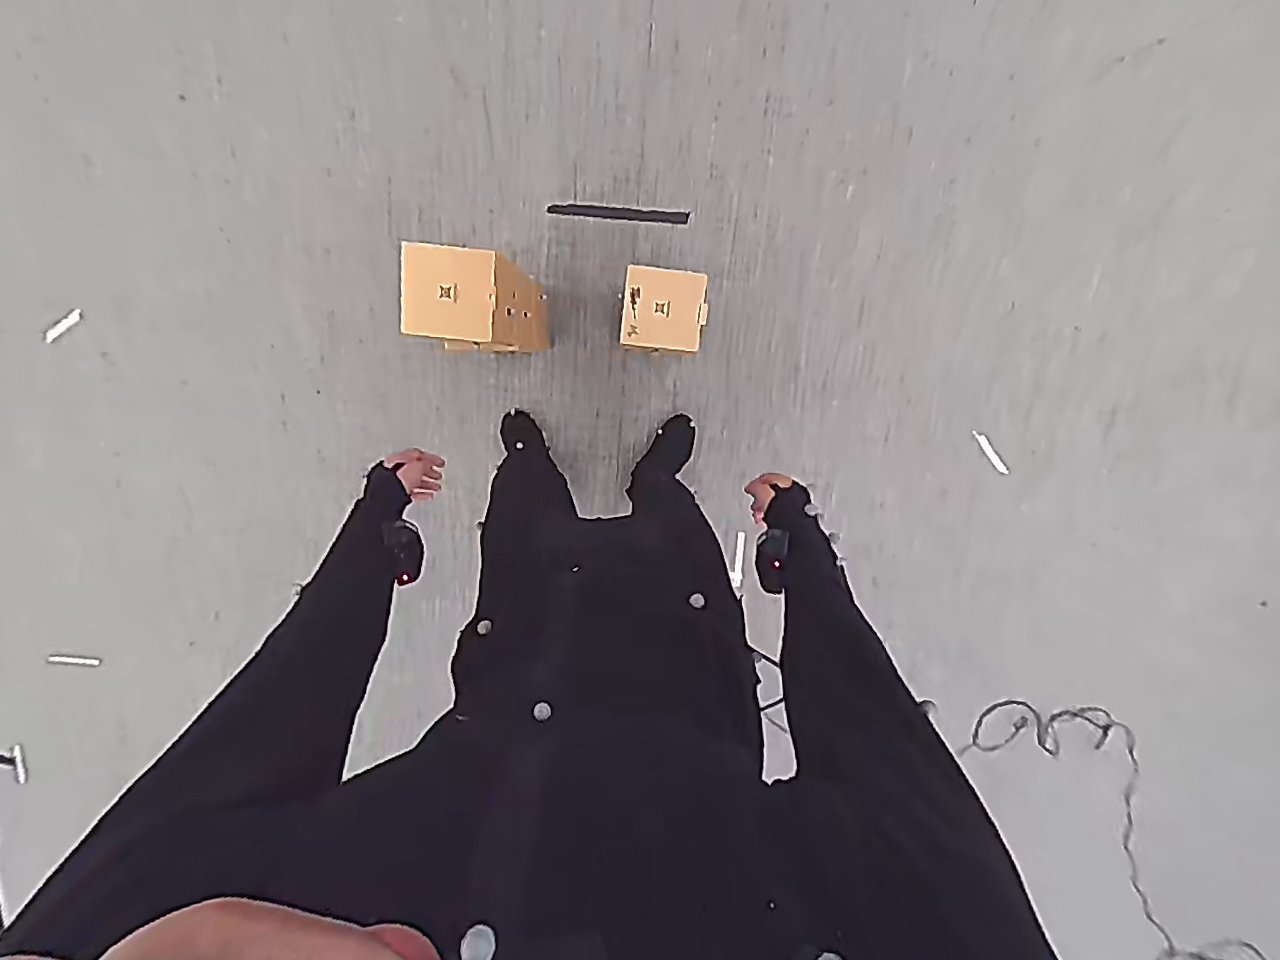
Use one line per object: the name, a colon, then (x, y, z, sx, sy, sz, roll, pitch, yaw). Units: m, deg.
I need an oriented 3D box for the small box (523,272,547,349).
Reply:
small box: (-0.337, -0.430, 1.394, 0.168, 0.176, 0.179, -1, 103, 0)

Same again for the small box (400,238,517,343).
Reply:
small box: (-0.353, -0.367, 1.074, 0.179, 0.176, 0.168, 6, 102, -1)

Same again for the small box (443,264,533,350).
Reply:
small box: (-0.344, -0.390, 1.235, 0.168, 0.176, 0.179, 1, 103, 0)

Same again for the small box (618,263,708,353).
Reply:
small box: (0.047, -0.387, 1.239, 0.179, 0.176, 0.168, 7, 102, -3)
